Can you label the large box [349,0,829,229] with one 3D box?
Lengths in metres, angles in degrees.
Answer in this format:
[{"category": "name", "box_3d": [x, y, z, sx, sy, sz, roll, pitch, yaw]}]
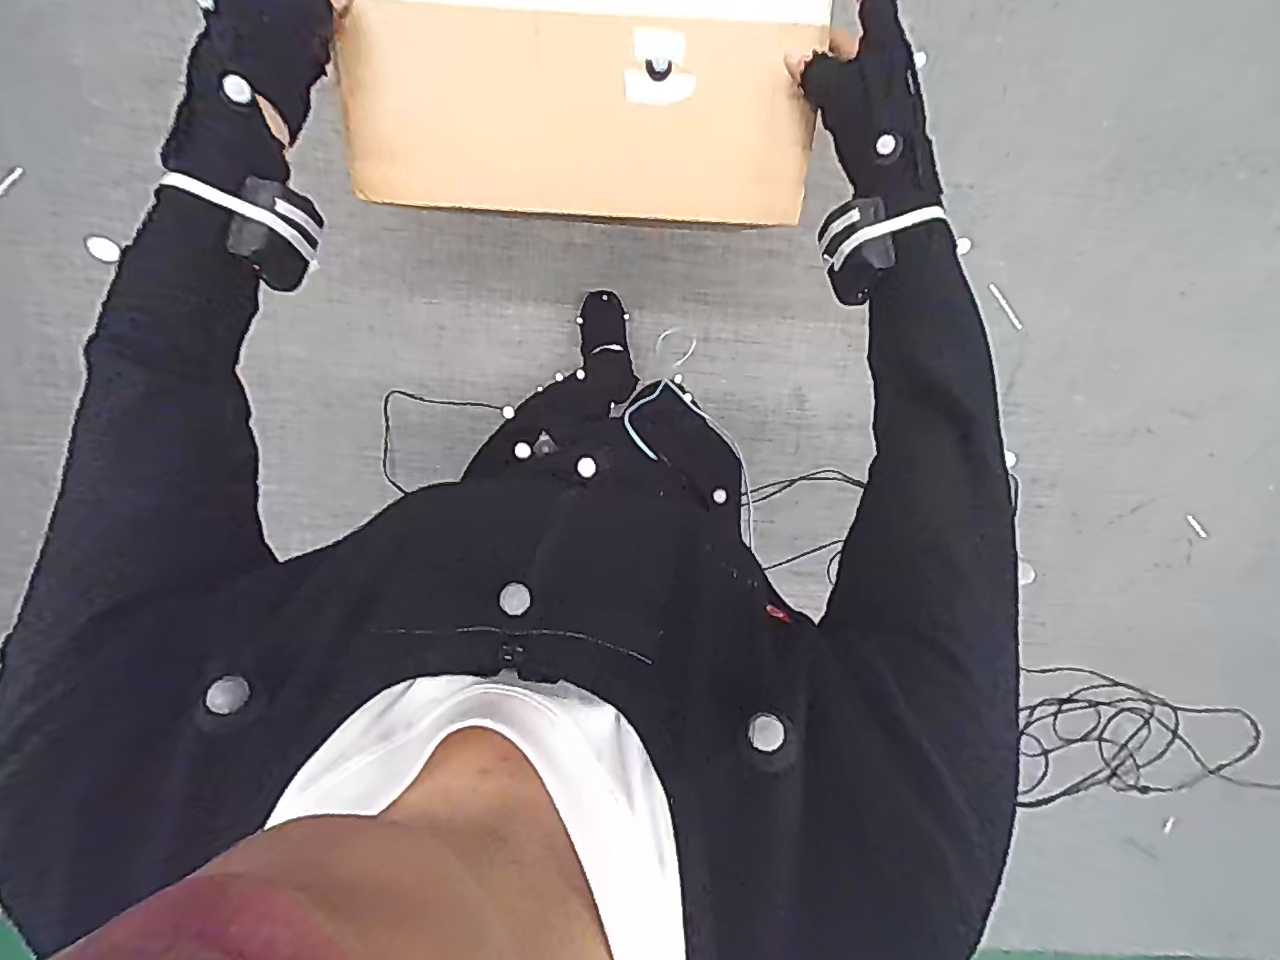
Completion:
[{"category": "large box", "box_3d": [-0.045, -0.453, 0.583, 0.408, 0.320, 0.320, 3, 114, -2]}]
